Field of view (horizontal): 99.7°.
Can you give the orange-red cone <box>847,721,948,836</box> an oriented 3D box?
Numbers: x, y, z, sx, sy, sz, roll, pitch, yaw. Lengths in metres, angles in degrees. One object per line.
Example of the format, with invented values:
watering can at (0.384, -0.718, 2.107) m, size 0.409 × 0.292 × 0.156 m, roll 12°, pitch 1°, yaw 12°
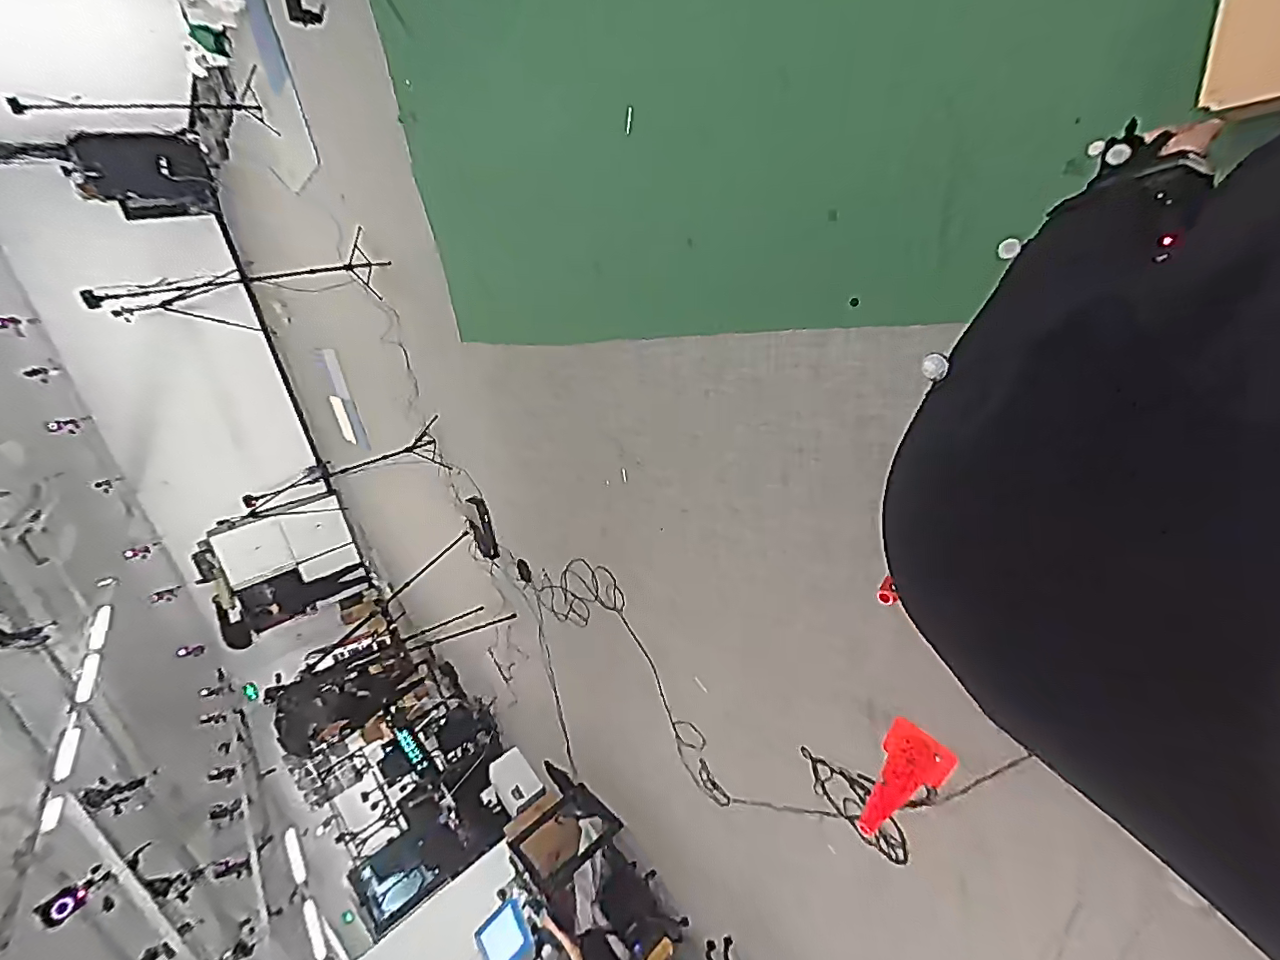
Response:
orange-red cone at (0.746, 0.956, 1.663) m, size 0.199 × 0.360 × 0.198 m, roll 37°, pitch 136°, yaw 36°
